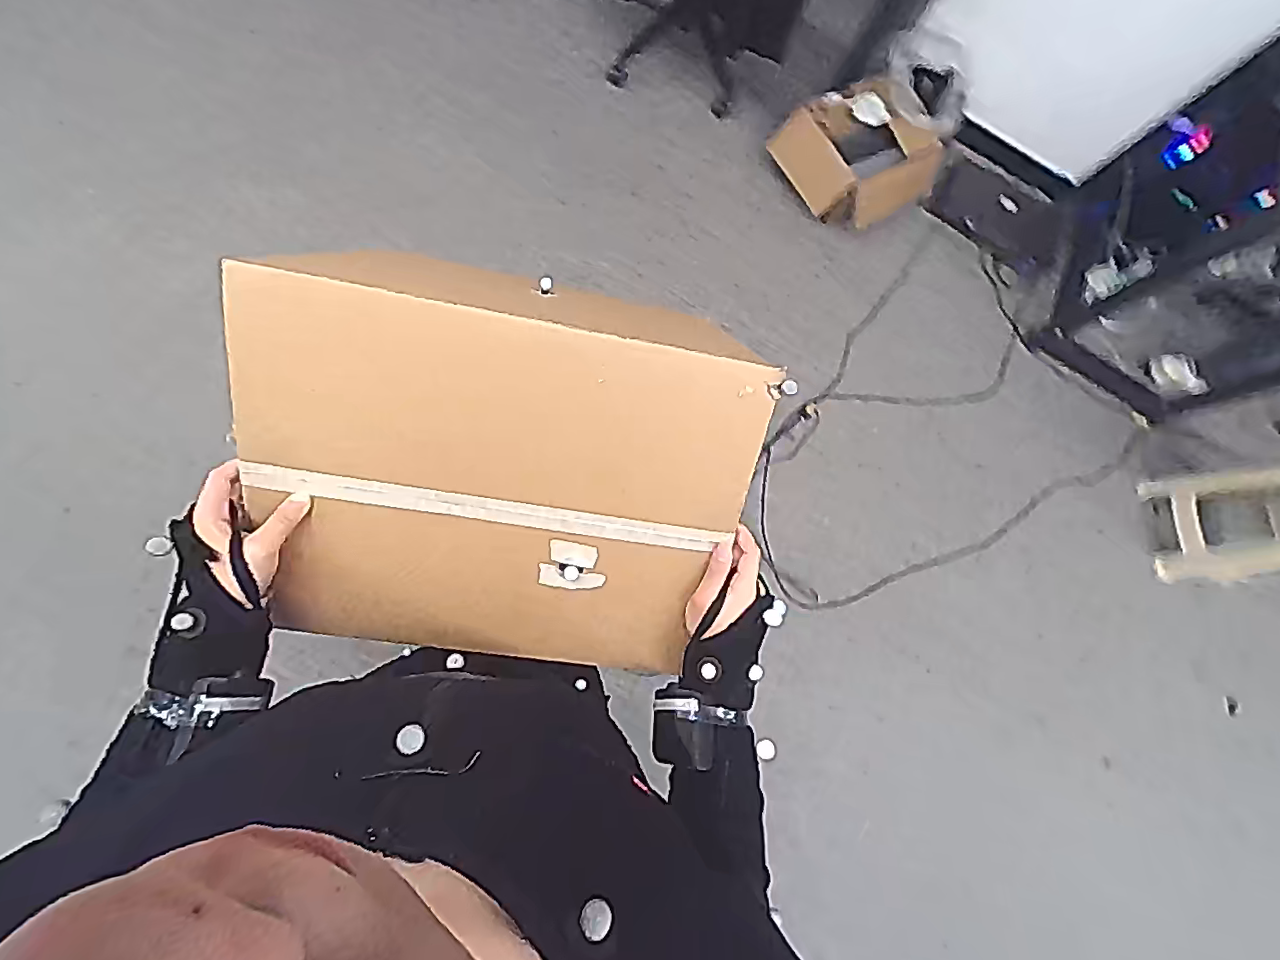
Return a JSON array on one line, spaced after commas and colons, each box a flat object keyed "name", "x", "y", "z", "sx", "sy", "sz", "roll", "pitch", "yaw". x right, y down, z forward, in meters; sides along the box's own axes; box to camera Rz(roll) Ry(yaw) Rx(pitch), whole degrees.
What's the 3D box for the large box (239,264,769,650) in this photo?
[{"name": "large box", "x": -0.129, "y": -0.044, "z": 0.602, "sx": 0.408, "sy": 0.320, "sz": 0.320, "roll": 7, "pitch": 115, "yaw": -9}]
